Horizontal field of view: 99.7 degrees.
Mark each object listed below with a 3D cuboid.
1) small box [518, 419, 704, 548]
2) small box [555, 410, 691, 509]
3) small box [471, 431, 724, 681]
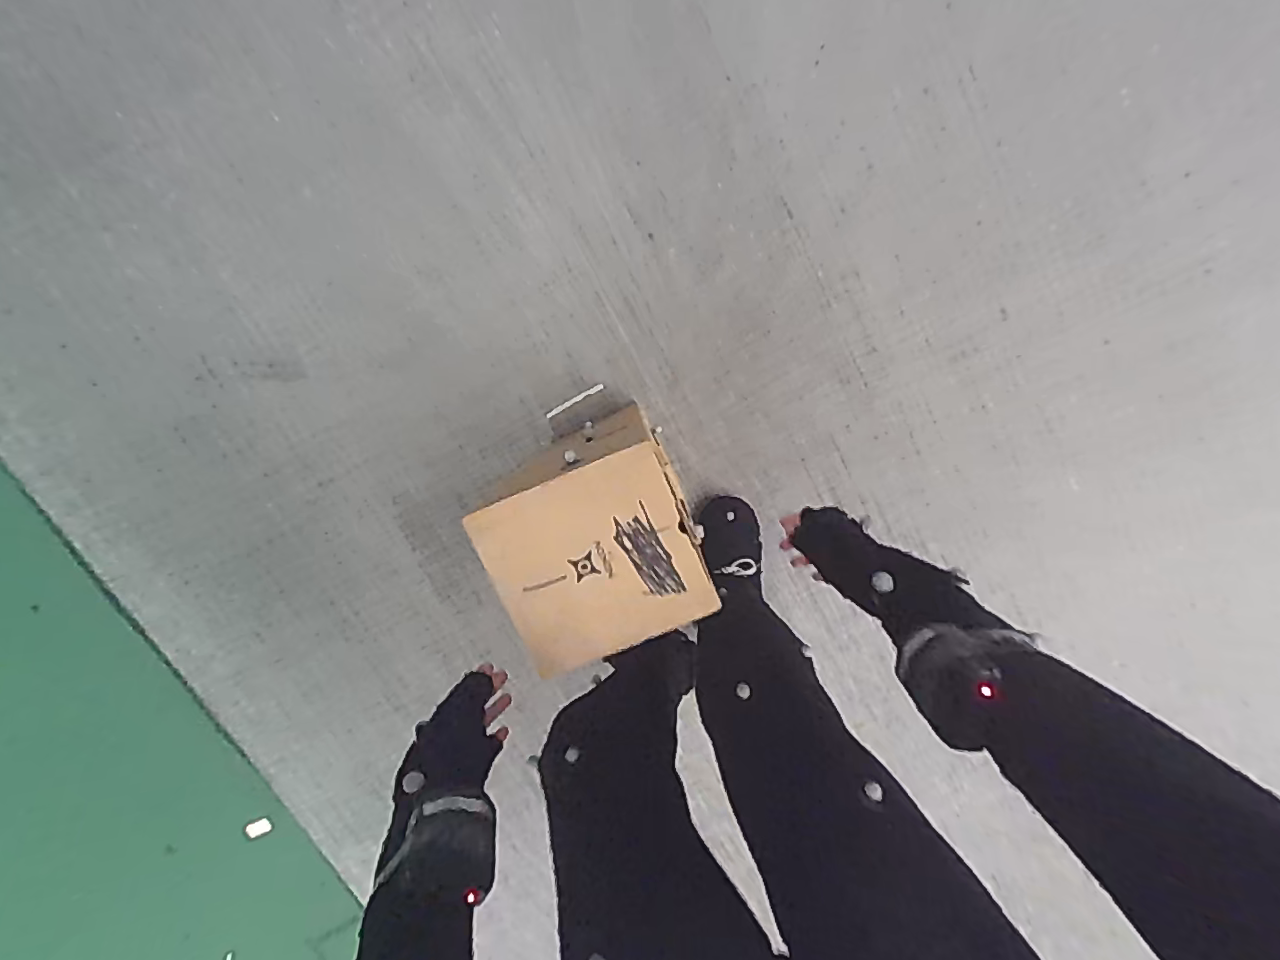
[{"bbox_3d":[-0.037,0.028,0.704,0.179,0.176,0.168,-24,100,2],"label":"small box"},{"bbox_3d":[-0.037,-0.003,0.866,0.179,0.176,0.168,-26,100,5],"label":"small box"},{"bbox_3d":[-0.037,0.060,0.542,0.179,0.176,0.168,-22,100,3],"label":"small box"}]
